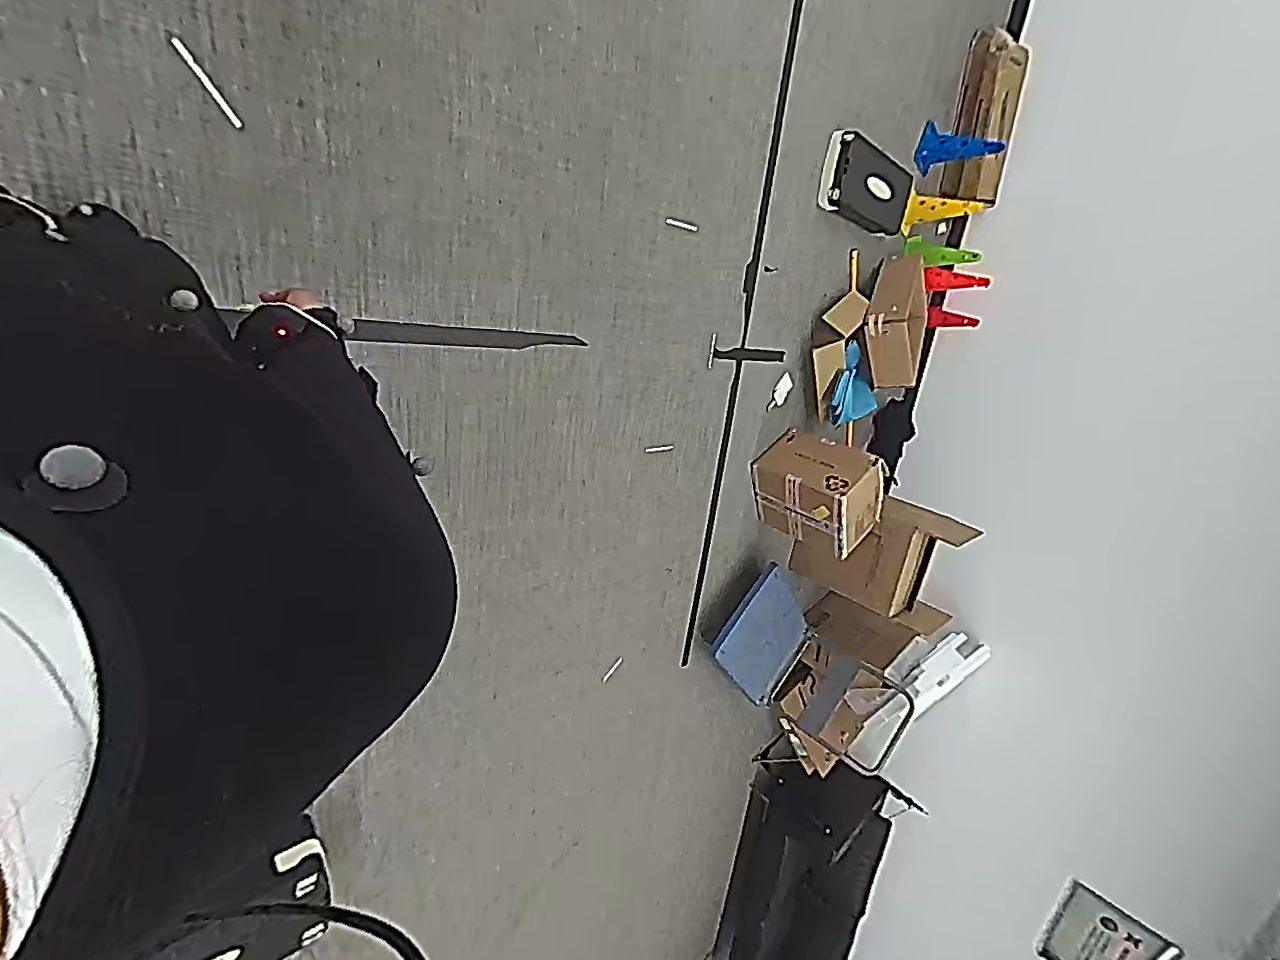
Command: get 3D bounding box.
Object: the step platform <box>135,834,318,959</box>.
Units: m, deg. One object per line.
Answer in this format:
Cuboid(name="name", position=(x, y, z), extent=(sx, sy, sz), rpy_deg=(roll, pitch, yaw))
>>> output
Cuboid(name="step platform", position=(-1.182, 1.203, 1.314), extent=(0.684, 0.204, 0.286), rpy_deg=(-12, 117, -44))
